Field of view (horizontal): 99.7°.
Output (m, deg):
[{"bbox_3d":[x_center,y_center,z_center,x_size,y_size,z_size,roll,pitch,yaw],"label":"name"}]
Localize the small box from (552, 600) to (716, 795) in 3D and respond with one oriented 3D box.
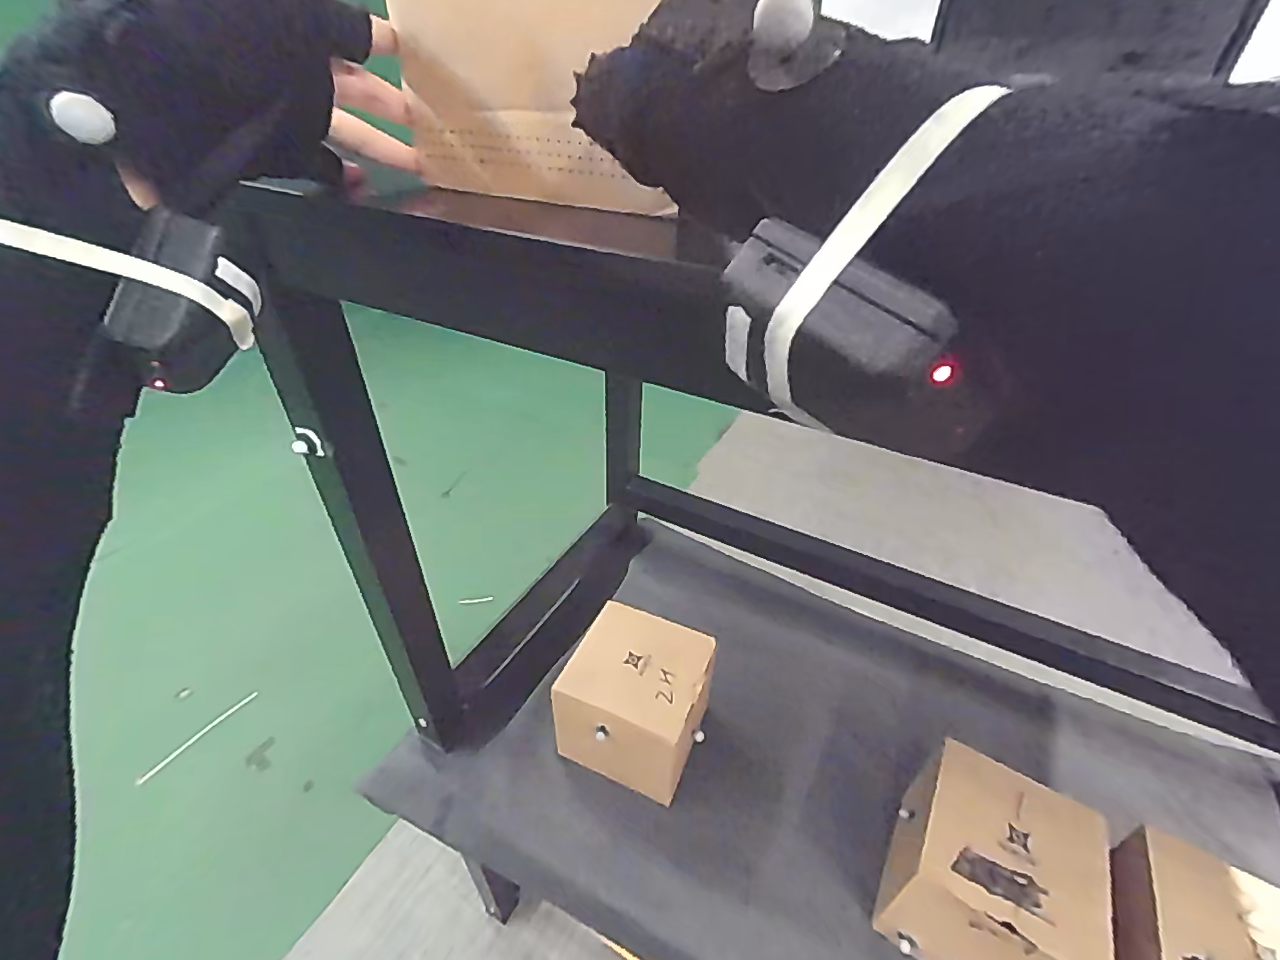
[{"bbox_3d":[-0.006,0.310,0.775,0.179,0.176,0.168,17,39,18],"label":"small box"}]
